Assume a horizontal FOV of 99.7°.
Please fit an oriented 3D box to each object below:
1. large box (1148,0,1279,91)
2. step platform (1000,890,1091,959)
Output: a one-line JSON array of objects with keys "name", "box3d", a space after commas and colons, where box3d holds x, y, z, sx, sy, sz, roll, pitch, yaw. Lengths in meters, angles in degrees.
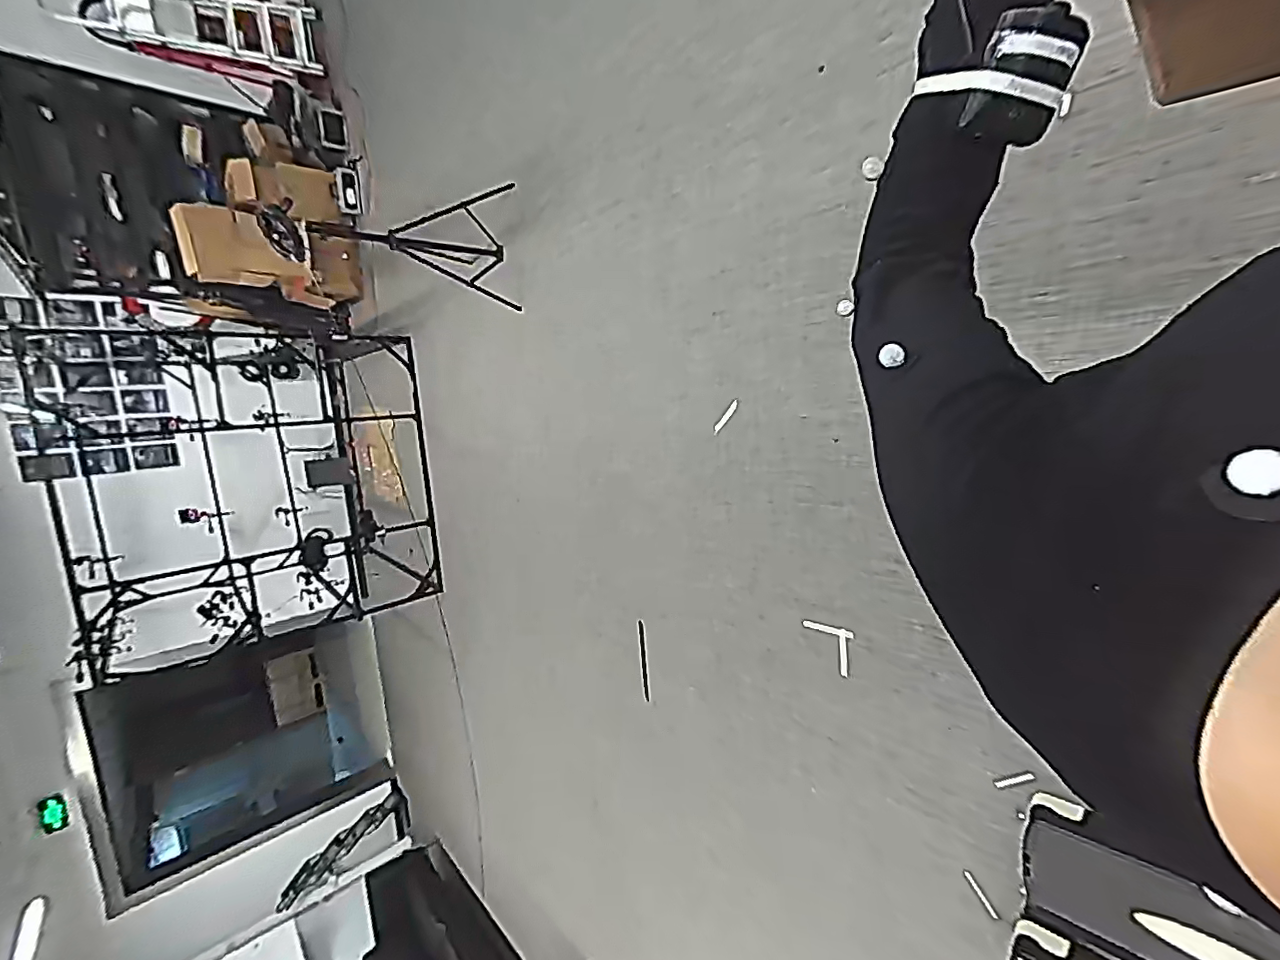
[{"name": "large box", "box3d": [0.510, -0.460, 0.234, 0.408, 0.320, 0.320, 10, 107, 45]}, {"name": "step platform", "box3d": [1.166, 1.230, 1.141, 0.684, 0.204, 0.286, 3, 101, 50]}]
